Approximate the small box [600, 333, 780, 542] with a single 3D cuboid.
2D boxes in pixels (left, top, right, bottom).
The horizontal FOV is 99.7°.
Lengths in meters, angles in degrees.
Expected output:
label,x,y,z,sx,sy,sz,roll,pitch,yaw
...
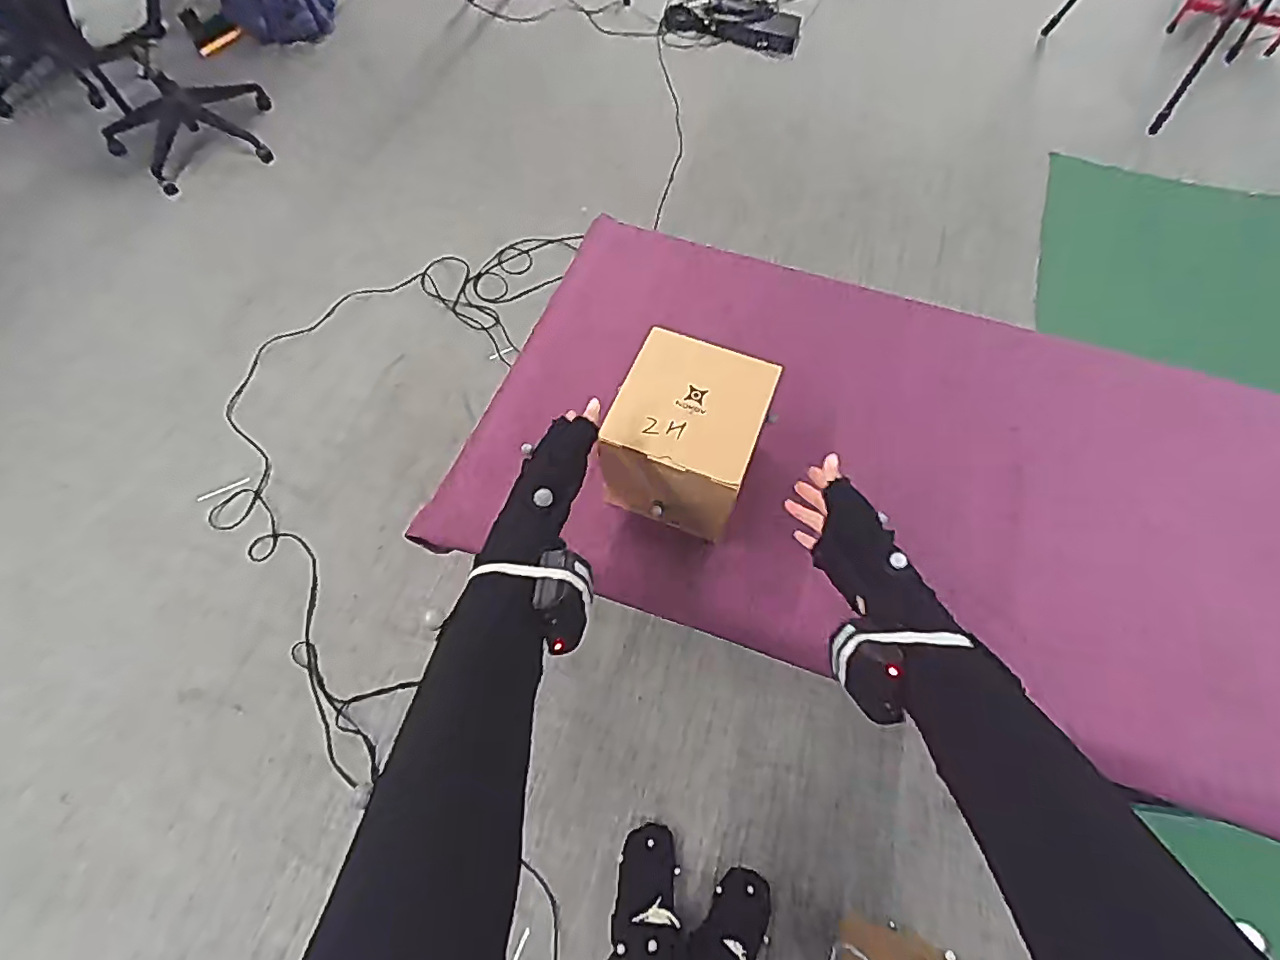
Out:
label,x,y,z,sx,sy,sz,roll,pitch,yaw
small box,0.058,-0.048,0.691,0.168,0.176,0.179,21,65,9
